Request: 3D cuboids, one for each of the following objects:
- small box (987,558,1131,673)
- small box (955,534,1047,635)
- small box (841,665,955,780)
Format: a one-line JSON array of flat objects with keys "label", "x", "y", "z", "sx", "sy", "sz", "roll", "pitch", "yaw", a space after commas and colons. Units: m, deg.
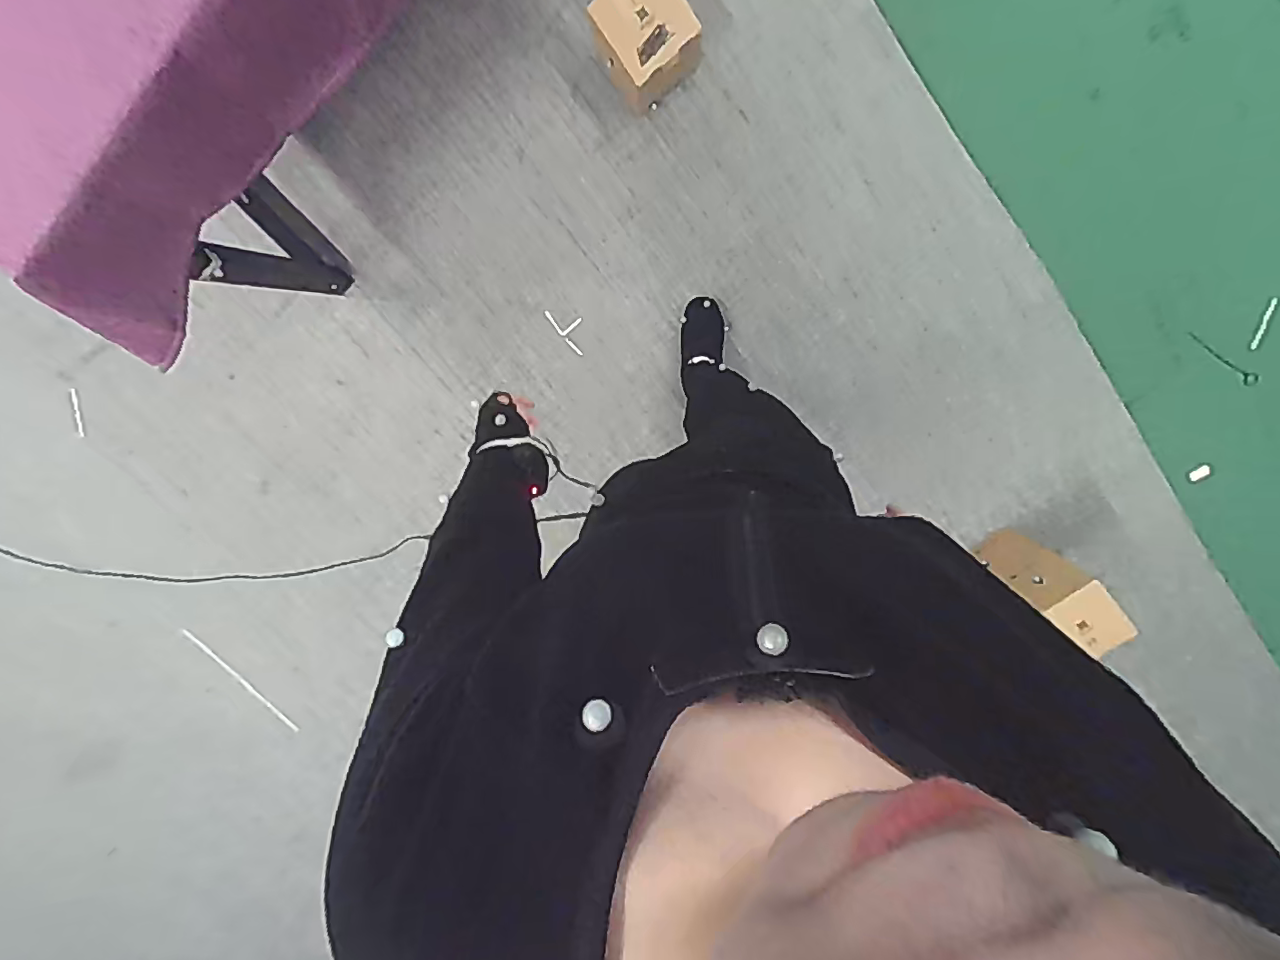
[{"label": "small box", "x": 0.967, "y": 0.304, "z": 1.267, "sx": 0.168, "sy": 0.176, "sz": 0.179, "roll": -40, "pitch": 100, "yaw": 14}, {"label": "small box", "x": 0.978, "y": 0.264, "z": 1.426, "sx": 0.168, "sy": 0.176, "sz": 0.179, "roll": -39, "pitch": 100, "yaw": 13}, {"label": "small box", "x": 0.645, "y": 0.607, "z": 1.371, "sx": 0.179, "sy": 0.176, "sz": 0.168, "roll": -34, "pitch": 101, "yaw": 12}]
